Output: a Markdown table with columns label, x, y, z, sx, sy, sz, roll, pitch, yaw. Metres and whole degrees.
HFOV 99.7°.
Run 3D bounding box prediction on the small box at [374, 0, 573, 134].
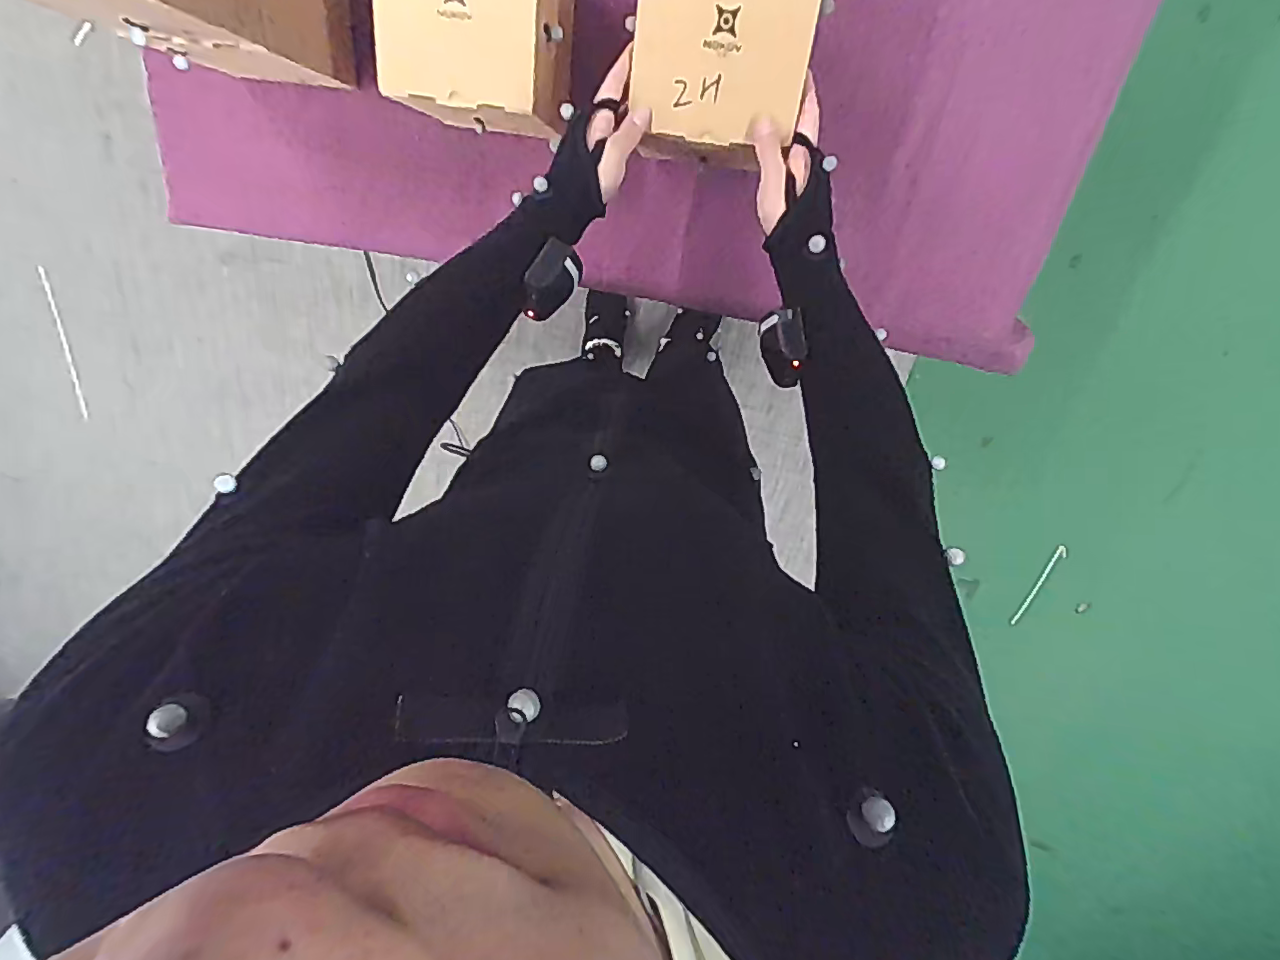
| label | x | y | z | sx | sy | sz | roll | pitch | yaw |
| --- | --- | --- | --- | --- | --- | --- | --- | --- | --- |
| small box | -0.172 | -0.505 | 0.594 | 0.168 | 0.176 | 0.179 | 9 | 116 | 1 |

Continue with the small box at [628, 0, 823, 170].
| label | x | y | z | sx | sy | sz | roll | pitch | yaw |
| --- | --- | --- | --- | --- | --- | --- | --- | --- | --- |
| small box | 0.086 | -0.448 | 0.572 | 0.168 | 0.176 | 0.179 | 9 | 115 | 2 |

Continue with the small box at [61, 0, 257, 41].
| label | x | y | z | sx | sy | sz | roll | pitch | yaw |
| --- | --- | --- | --- | --- | --- | --- | --- | --- | --- |
| small box | -0.457 | -0.498 | 0.437 | 0.168 | 0.176 | 0.179 | 8 | 115 | 1 |
